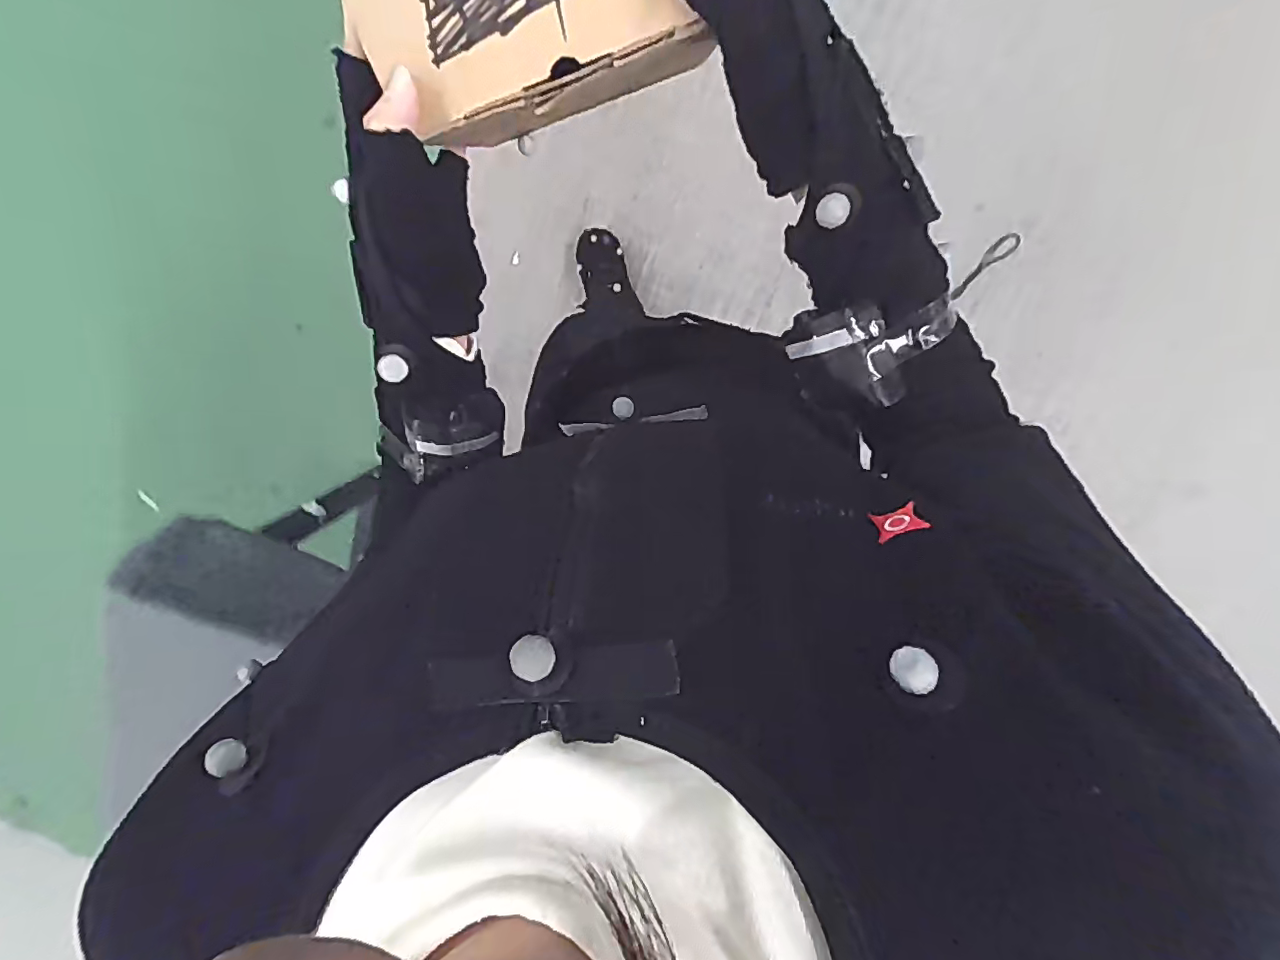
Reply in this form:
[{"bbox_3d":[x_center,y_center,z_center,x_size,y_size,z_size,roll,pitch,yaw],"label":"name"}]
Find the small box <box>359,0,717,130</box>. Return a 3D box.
[{"bbox_3d":[-0.058,-0.306,0.273,0.168,0.176,0.179,-17,121,11],"label":"small box"}]
